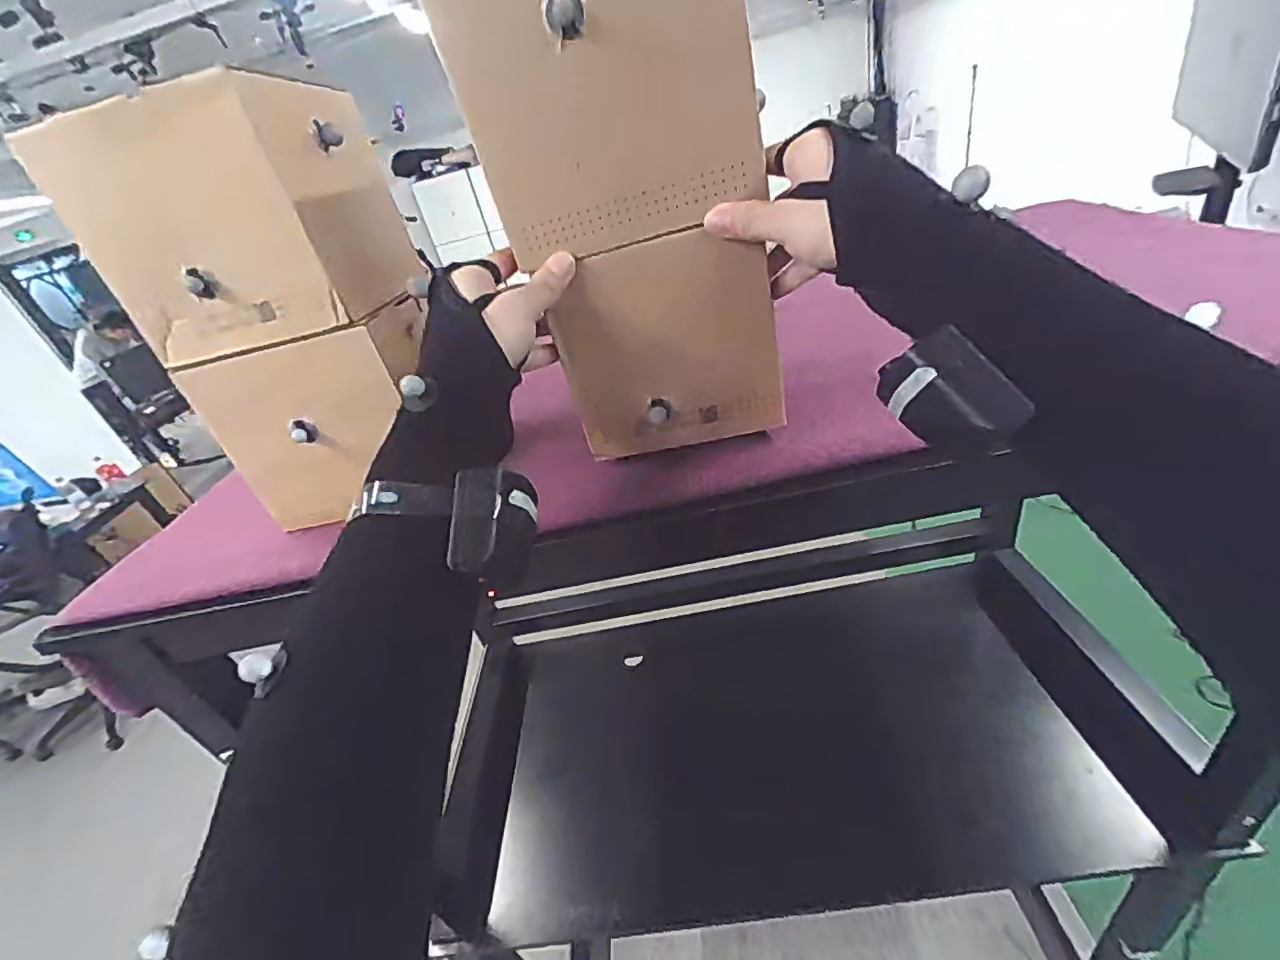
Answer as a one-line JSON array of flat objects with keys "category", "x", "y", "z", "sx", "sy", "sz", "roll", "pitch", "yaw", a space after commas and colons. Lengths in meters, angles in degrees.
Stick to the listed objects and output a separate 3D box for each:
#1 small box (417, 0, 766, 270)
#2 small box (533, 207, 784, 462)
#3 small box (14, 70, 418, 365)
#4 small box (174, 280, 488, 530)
[{"category": "small box", "x": -0.019, "y": -0.267, "z": 0.386, "sx": 0.179, "sy": 0.176, "sz": 0.168, "roll": -11, "pitch": 34, "yaw": 10}, {"category": "small box", "x": 0.025, "y": -0.139, "z": 0.480, "sx": 0.168, "sy": 0.176, "sz": 0.179, "roll": -11, "pitch": 34, "yaw": 10}, {"category": "small box", "x": -0.314, "y": -0.213, "z": 0.456, "sx": 0.168, "sy": 0.176, "sz": 0.179, "roll": -12, "pitch": 31, "yaw": 7}, {"category": "small box", "x": -0.272, "y": -0.075, "z": 0.530, "sx": 0.179, "sy": 0.176, "sz": 0.168, "roll": -12, "pitch": 31, "yaw": 7}]
